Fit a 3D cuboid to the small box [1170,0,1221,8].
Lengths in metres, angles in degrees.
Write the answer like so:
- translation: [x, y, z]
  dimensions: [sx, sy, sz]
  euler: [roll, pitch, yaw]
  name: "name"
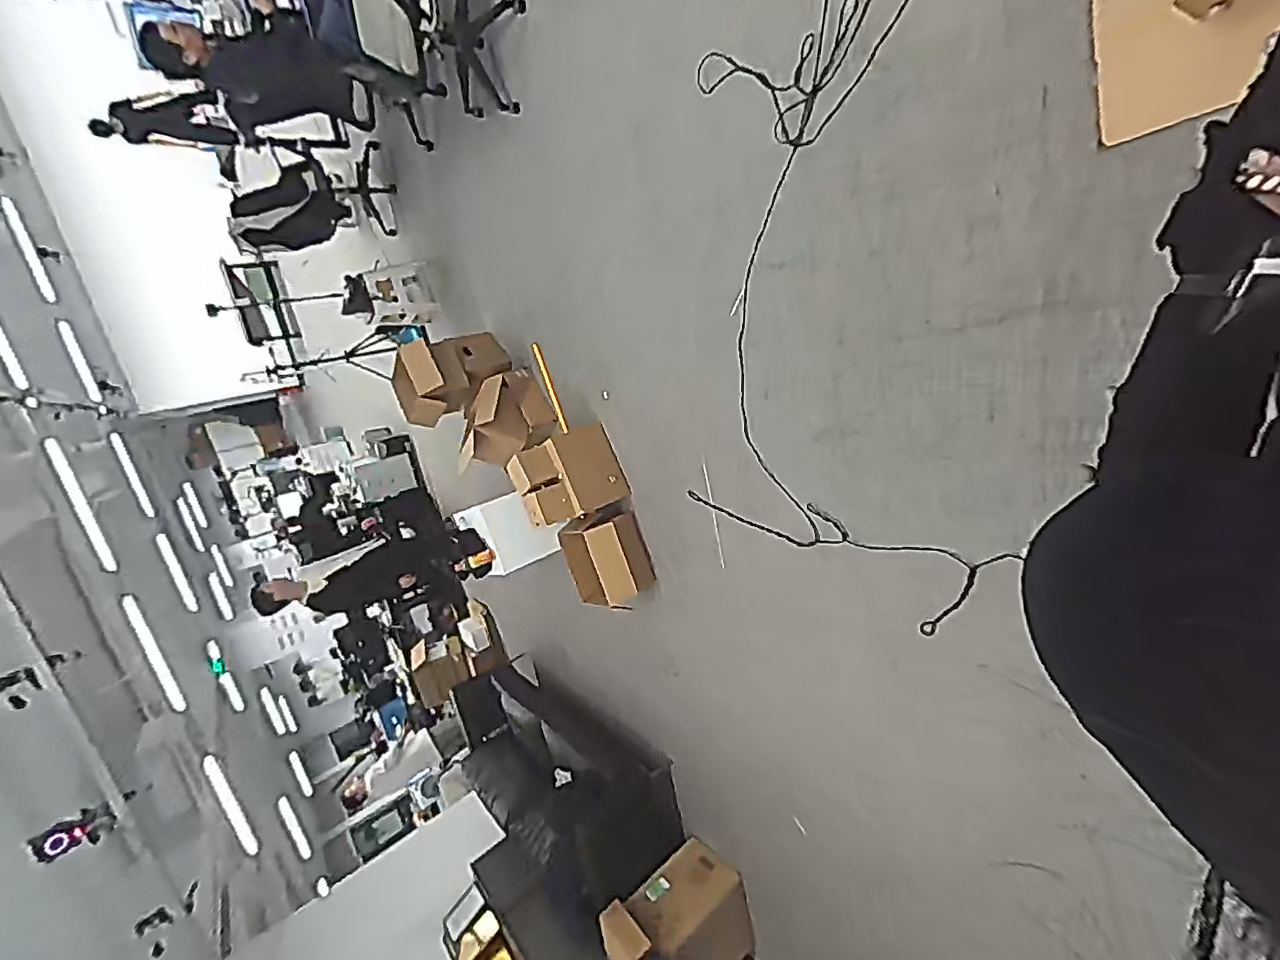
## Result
- translation: [0.913, -0.851, 0.804]
  dimensions: [0.168, 0.176, 0.179]
  euler: [1, 108, 54]
  name: "small box"
